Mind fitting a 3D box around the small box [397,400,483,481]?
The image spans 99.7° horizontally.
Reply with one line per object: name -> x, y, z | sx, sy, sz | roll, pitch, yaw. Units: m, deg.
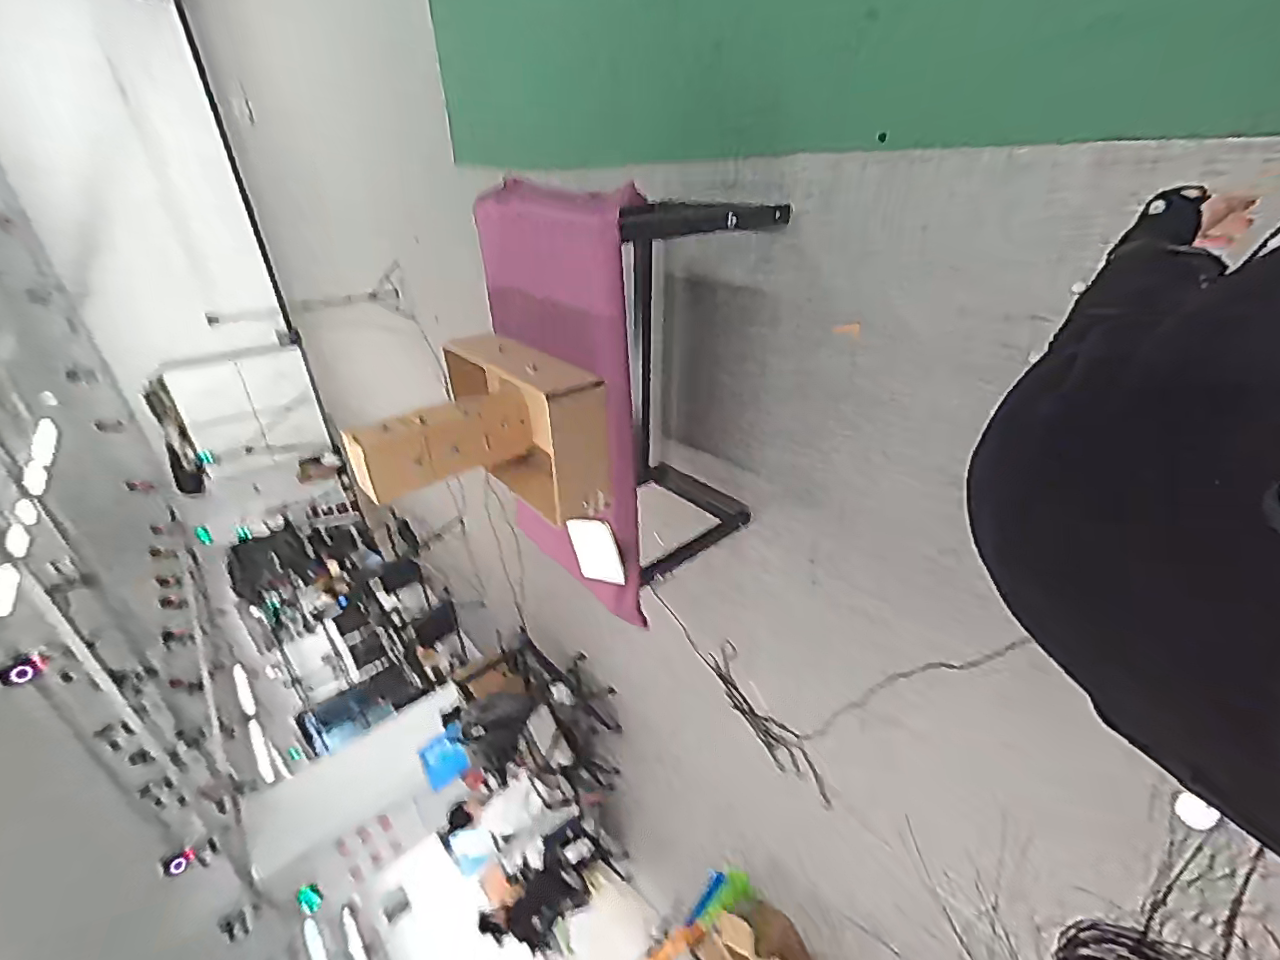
small box -> -0.590, -0.125, 1.607 | 0.168, 0.176, 0.179 | 27, 130, 41

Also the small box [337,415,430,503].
small box -> -0.714, -0.067, 1.515 | 0.168, 0.176, 0.179 | 29, 130, 40
